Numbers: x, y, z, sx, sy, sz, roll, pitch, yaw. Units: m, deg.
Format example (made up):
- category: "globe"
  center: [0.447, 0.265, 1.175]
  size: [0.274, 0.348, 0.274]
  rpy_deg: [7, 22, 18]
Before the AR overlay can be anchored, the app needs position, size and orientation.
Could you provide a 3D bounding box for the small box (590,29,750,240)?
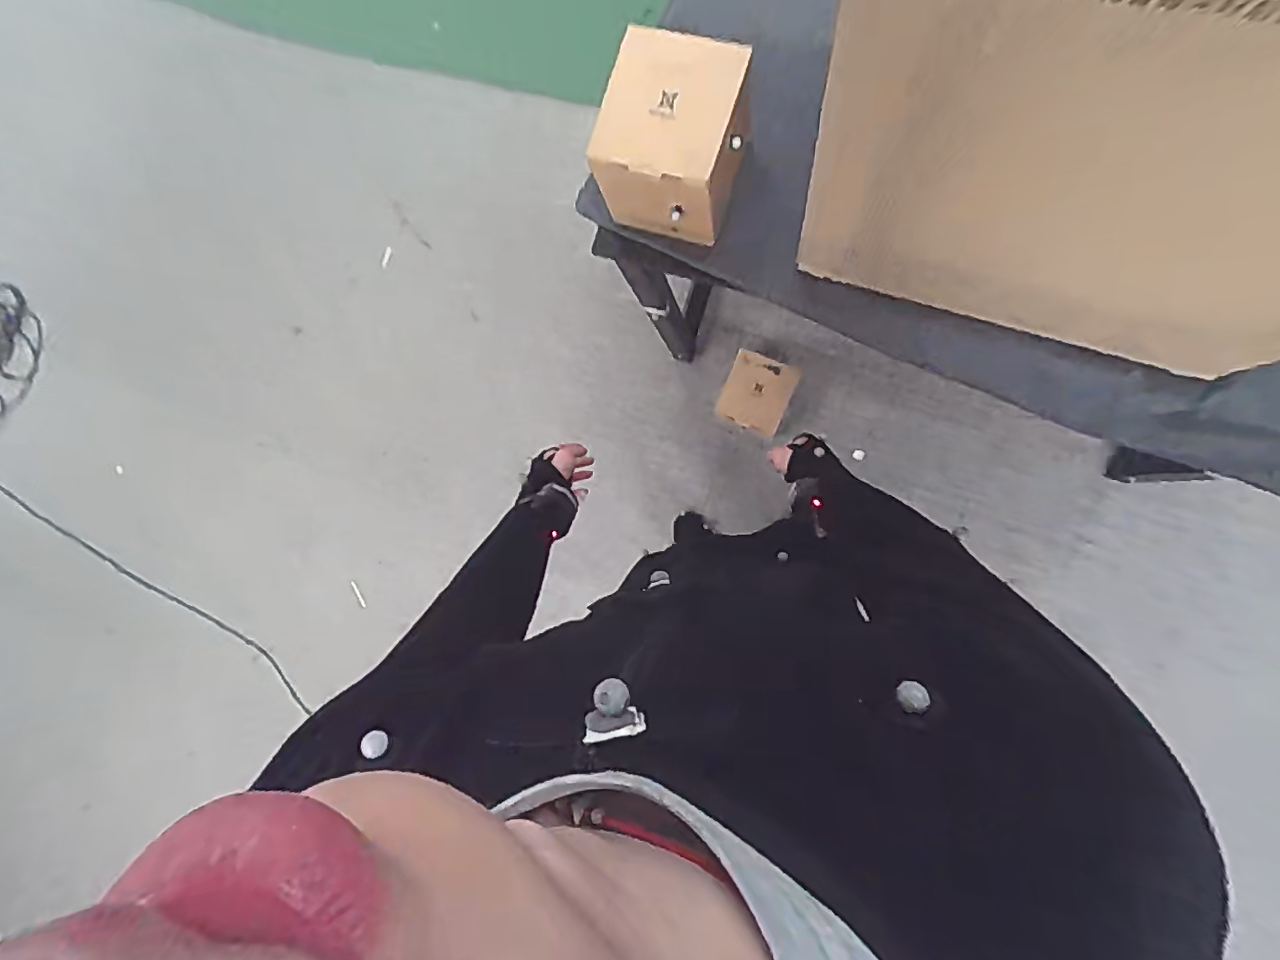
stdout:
- category: "small box"
  center: [0.050, -0.467, 0.756]
  size: [0.168, 0.176, 0.179]
  rpy_deg: [18, 89, 10]
